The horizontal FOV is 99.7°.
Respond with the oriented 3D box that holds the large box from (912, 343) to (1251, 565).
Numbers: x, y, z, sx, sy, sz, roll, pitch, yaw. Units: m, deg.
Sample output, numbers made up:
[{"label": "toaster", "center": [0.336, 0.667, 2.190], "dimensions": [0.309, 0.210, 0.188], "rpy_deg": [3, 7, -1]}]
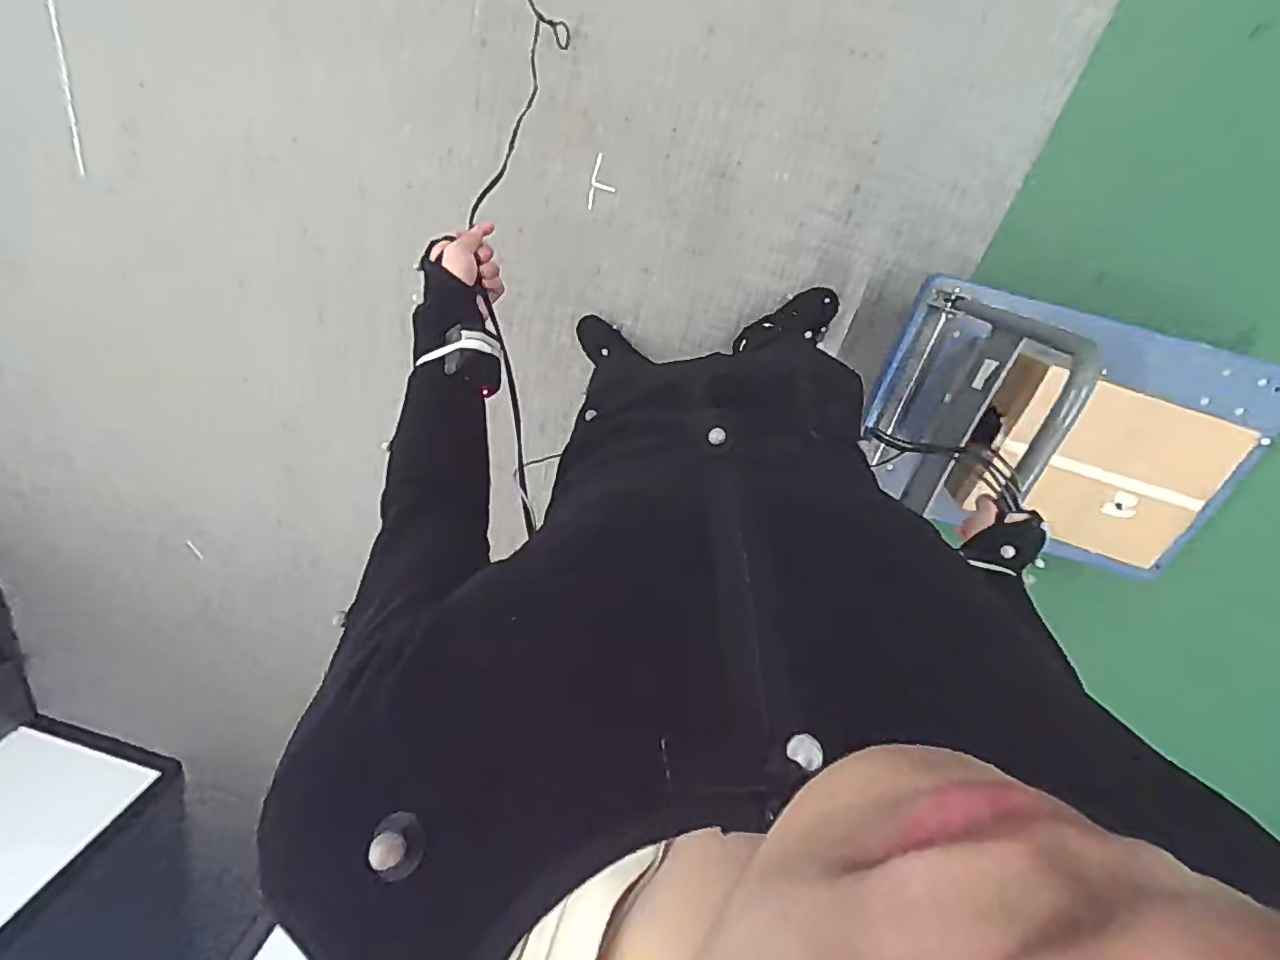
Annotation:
[{"label": "large box", "center": [0.895, -0.074, 1.174], "dimensions": [0.408, 0.320, 0.320], "rpy_deg": [18, 116, -1]}]
